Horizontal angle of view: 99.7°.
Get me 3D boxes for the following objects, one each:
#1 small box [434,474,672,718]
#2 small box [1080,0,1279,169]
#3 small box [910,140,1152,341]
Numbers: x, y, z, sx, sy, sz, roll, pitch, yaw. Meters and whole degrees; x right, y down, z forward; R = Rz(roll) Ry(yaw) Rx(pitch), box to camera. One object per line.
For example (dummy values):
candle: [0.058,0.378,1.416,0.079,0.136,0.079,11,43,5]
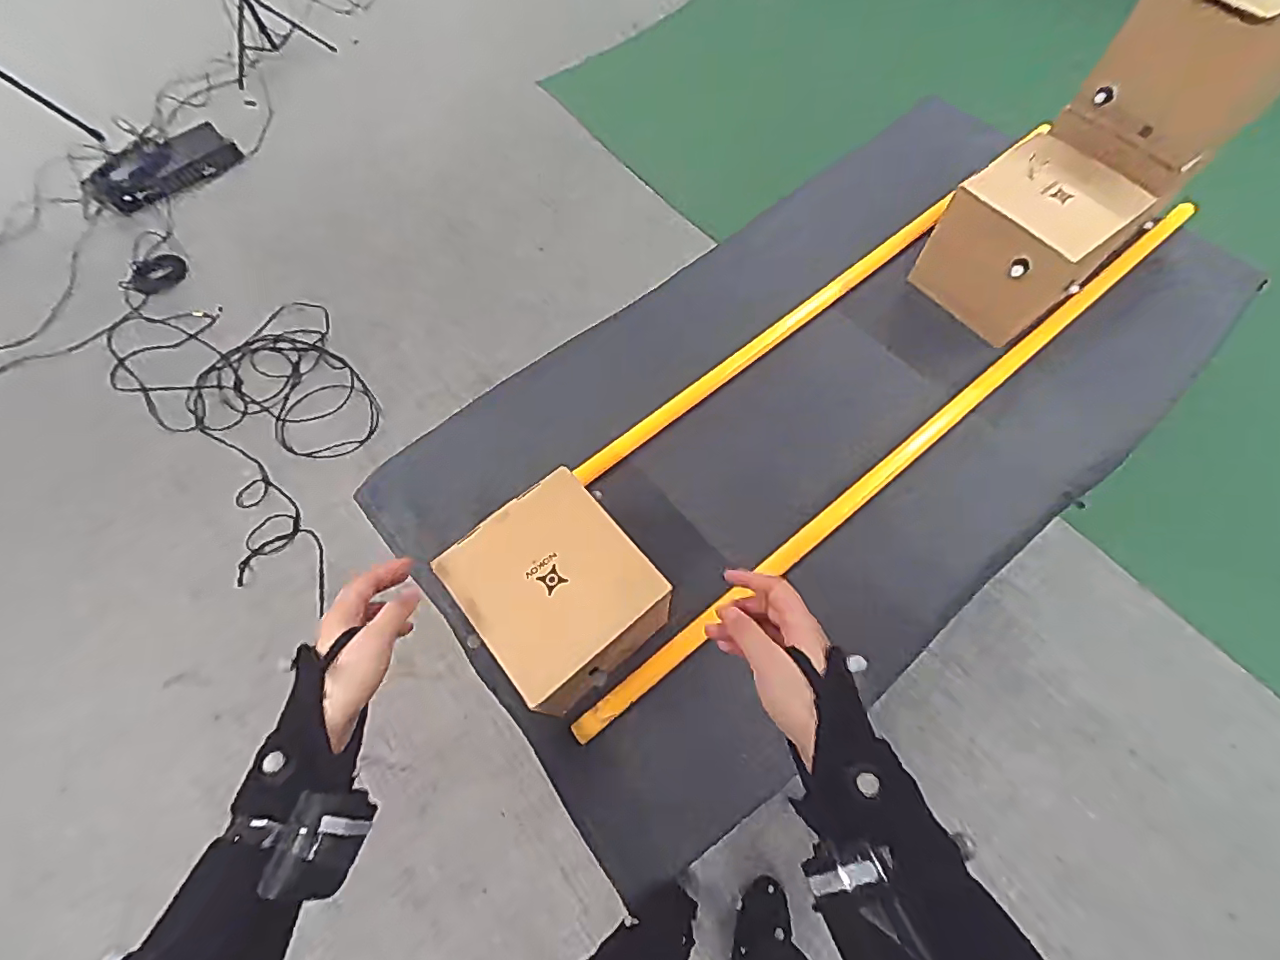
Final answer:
small box: [-0.081,0.131,0.586,0.168,0.176,0.179,-38,69,-15]
small box: [0.698,-0.524,0.660,0.179,0.176,0.168,-33,69,-12]
small box: [0.528,-0.322,0.759,0.168,0.176,0.179,-35,69,-12]
